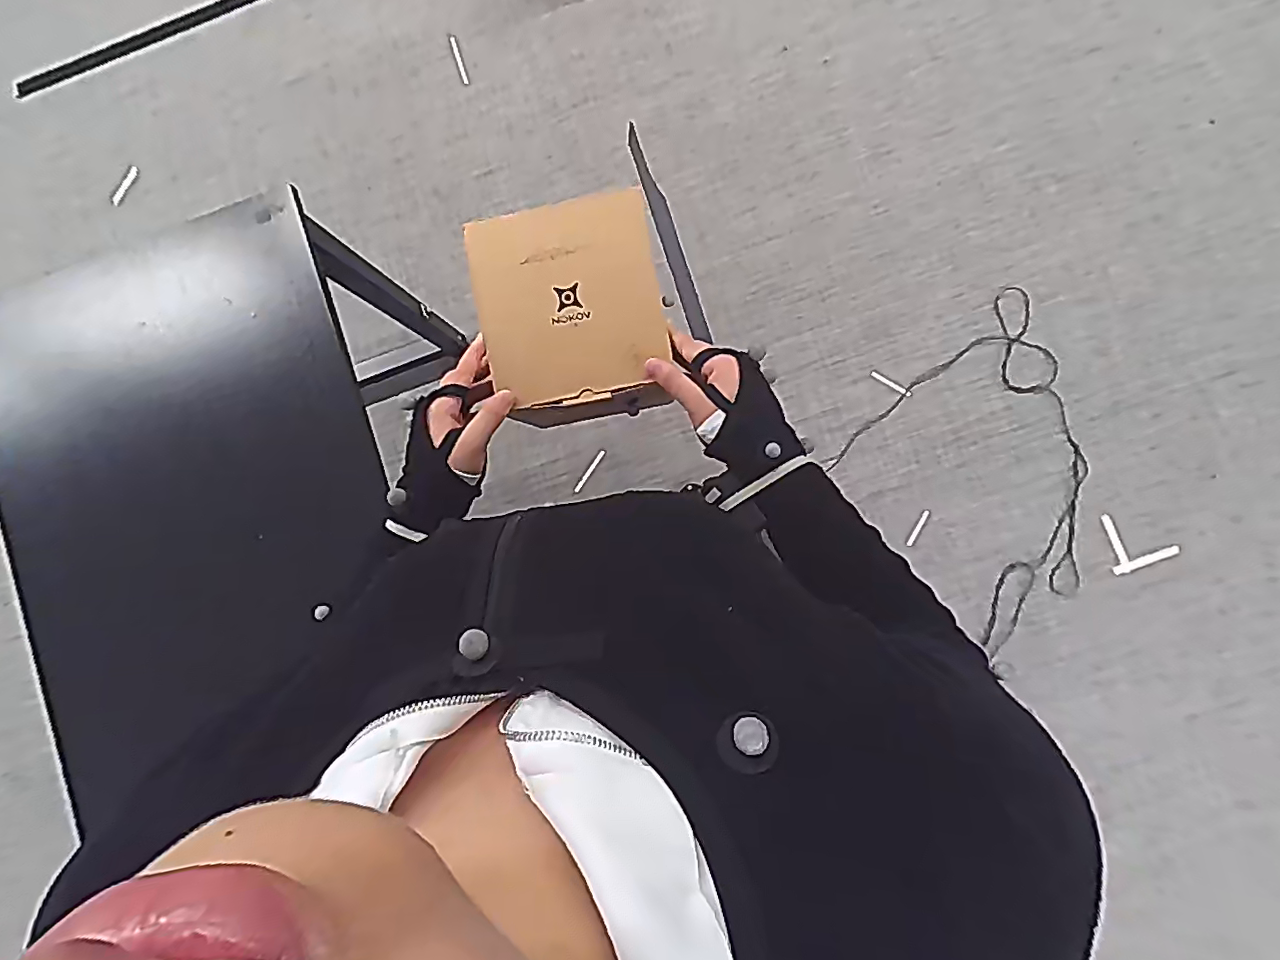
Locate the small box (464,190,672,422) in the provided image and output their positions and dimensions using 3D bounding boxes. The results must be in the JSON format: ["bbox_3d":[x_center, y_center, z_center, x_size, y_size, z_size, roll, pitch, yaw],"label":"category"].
[{"bbox_3d":[-0.060,-0.160,0.563,0.168,0.176,0.179,-11,90,2],"label":"small box"}]
